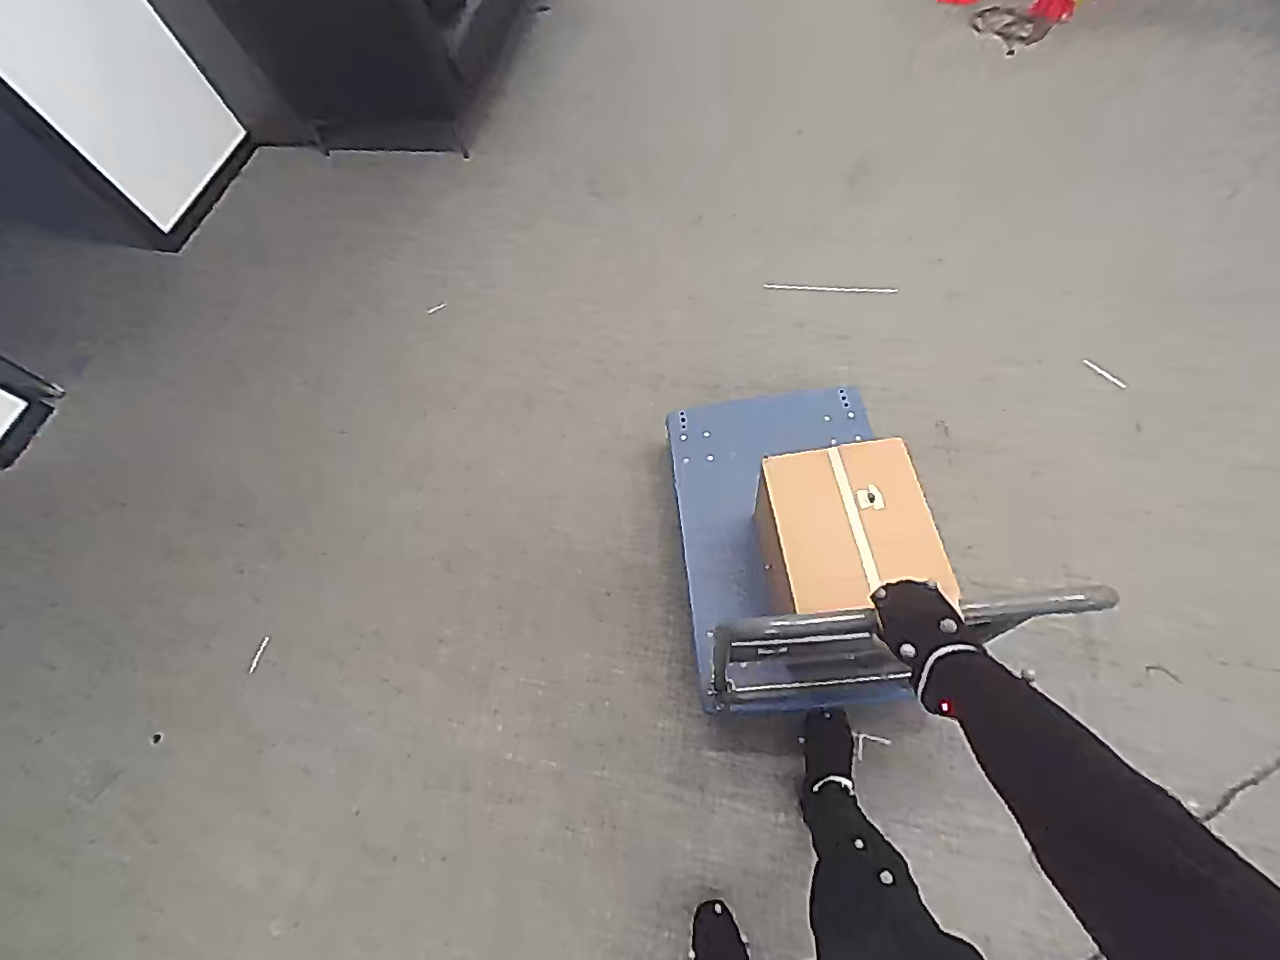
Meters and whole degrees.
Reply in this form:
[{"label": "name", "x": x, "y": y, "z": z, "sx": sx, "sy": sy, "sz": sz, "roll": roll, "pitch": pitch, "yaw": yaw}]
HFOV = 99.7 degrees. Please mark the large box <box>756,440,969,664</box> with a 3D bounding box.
[{"label": "large box", "x": 0.465, "y": 0.175, "z": 1.242, "sx": 0.320, "sy": 0.320, "sz": 0.408, "roll": -8, "pitch": 61, "yaw": 3}]
